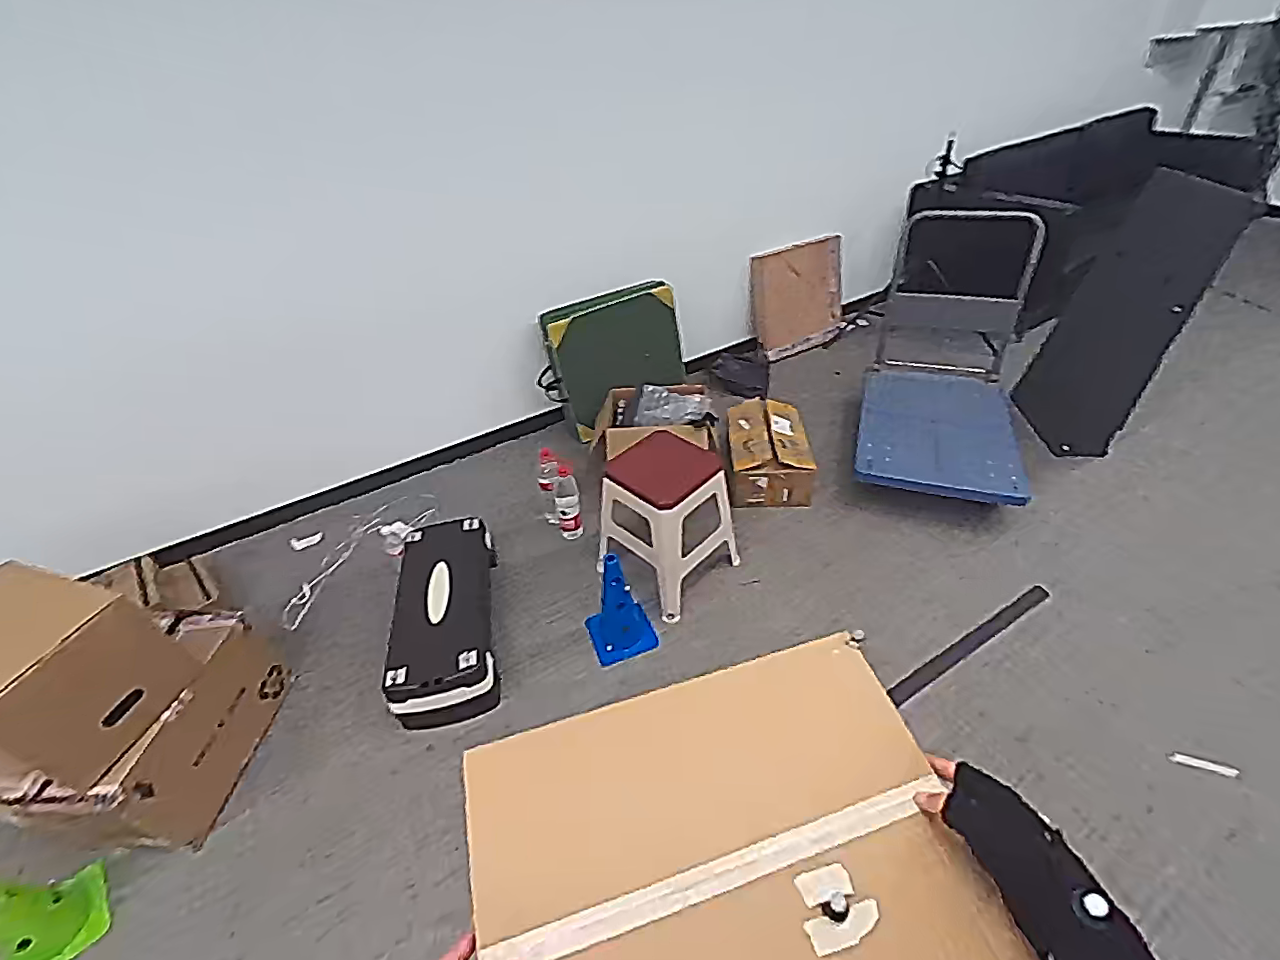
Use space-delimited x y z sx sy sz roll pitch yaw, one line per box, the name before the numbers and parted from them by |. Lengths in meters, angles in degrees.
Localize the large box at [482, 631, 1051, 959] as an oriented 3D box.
large box | 0.083 0.418 0.563 0.408 0.320 0.320 -13 49 -11
